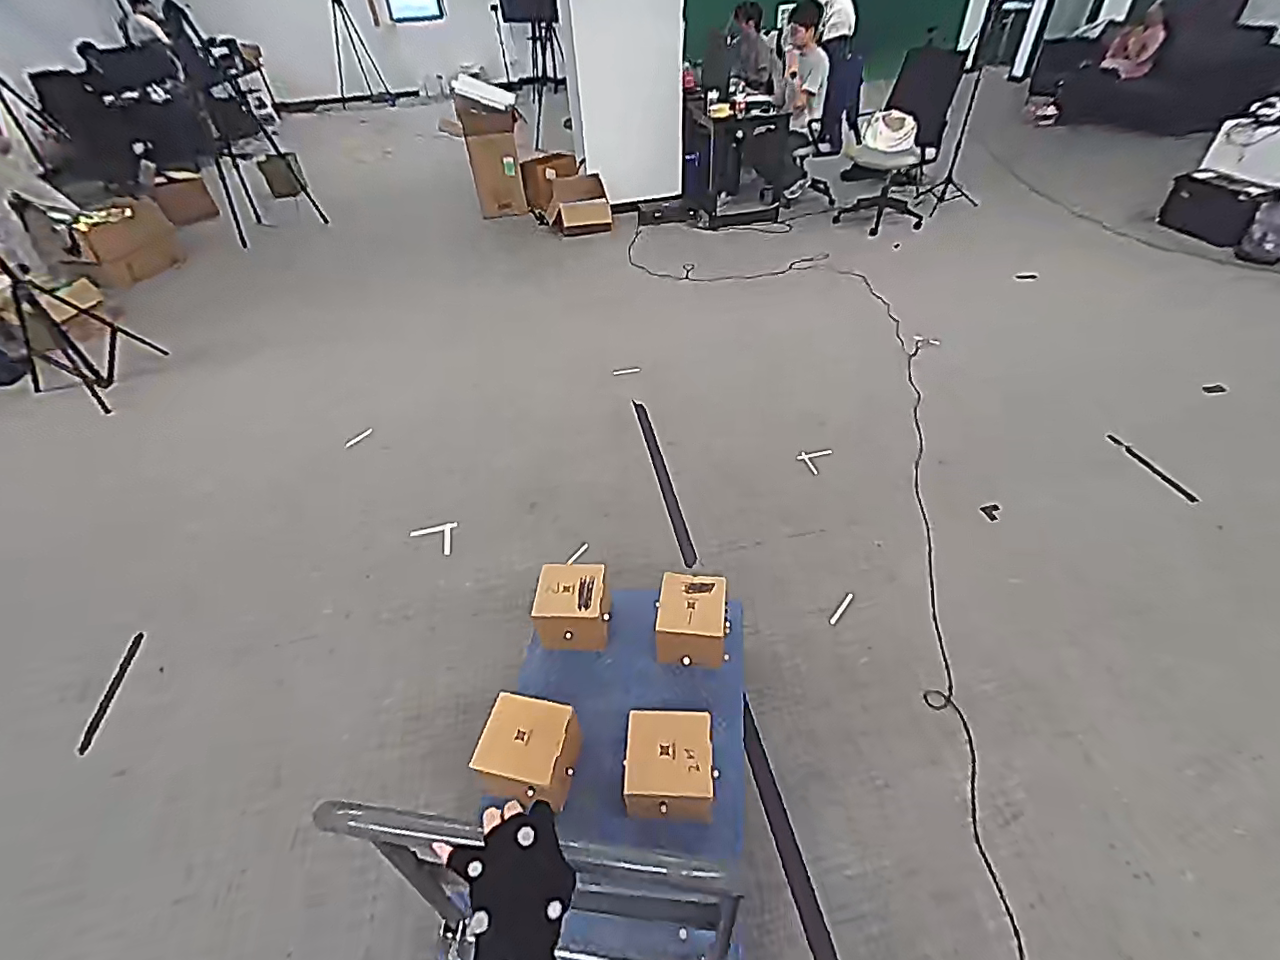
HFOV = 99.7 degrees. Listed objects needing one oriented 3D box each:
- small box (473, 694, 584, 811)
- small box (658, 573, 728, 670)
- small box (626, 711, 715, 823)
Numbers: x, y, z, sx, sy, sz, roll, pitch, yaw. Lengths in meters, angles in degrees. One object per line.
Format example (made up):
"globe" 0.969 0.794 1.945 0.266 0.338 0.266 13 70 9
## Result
"small box" -0.236 0.603 1.192 0.179 0.176 0.168 7 43 11
"small box" 0.140 0.369 1.410 0.168 0.176 0.179 3 44 9
"small box" 0.070 0.612 1.152 0.179 0.176 0.168 -1 43 5
